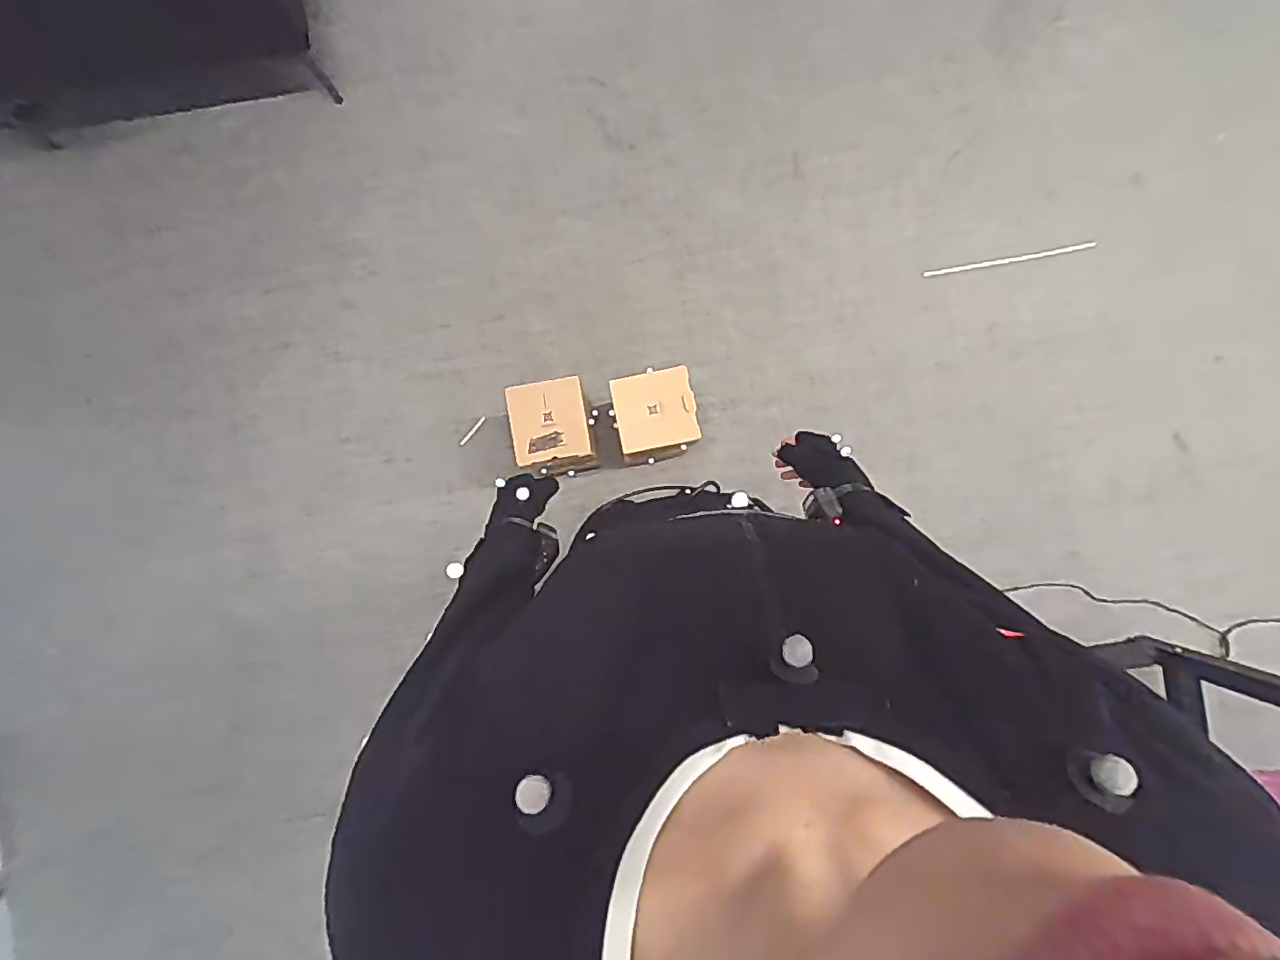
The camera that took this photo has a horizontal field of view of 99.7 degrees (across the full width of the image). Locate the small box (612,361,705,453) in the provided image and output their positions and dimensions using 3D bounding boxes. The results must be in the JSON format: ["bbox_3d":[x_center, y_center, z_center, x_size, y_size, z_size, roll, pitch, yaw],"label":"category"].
[{"bbox_3d":[0.041,-0.159,1.241,0.179,0.176,0.168,-12,90,0],"label":"small box"}]

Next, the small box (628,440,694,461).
[{"bbox_3d":[0.038,-0.152,1.405,0.168,0.176,0.179,-11,89,1],"label":"small box"}]
